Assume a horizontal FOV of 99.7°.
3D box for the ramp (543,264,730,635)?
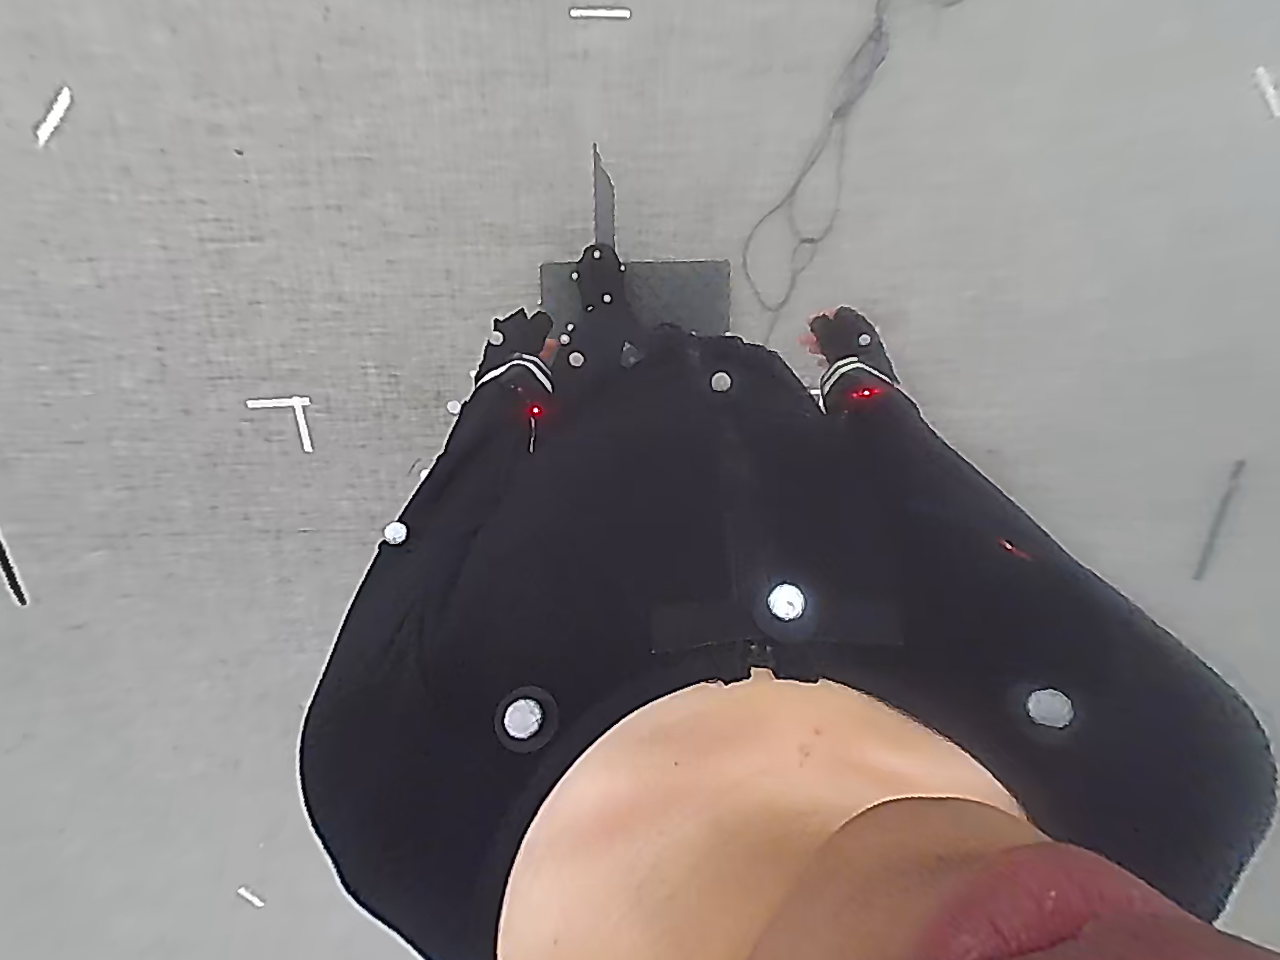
[{"bbox_3d":[-0.002,-0.061,1.468,0.509,0.206,0.991,-3,107,1],"label":"ramp"}]
